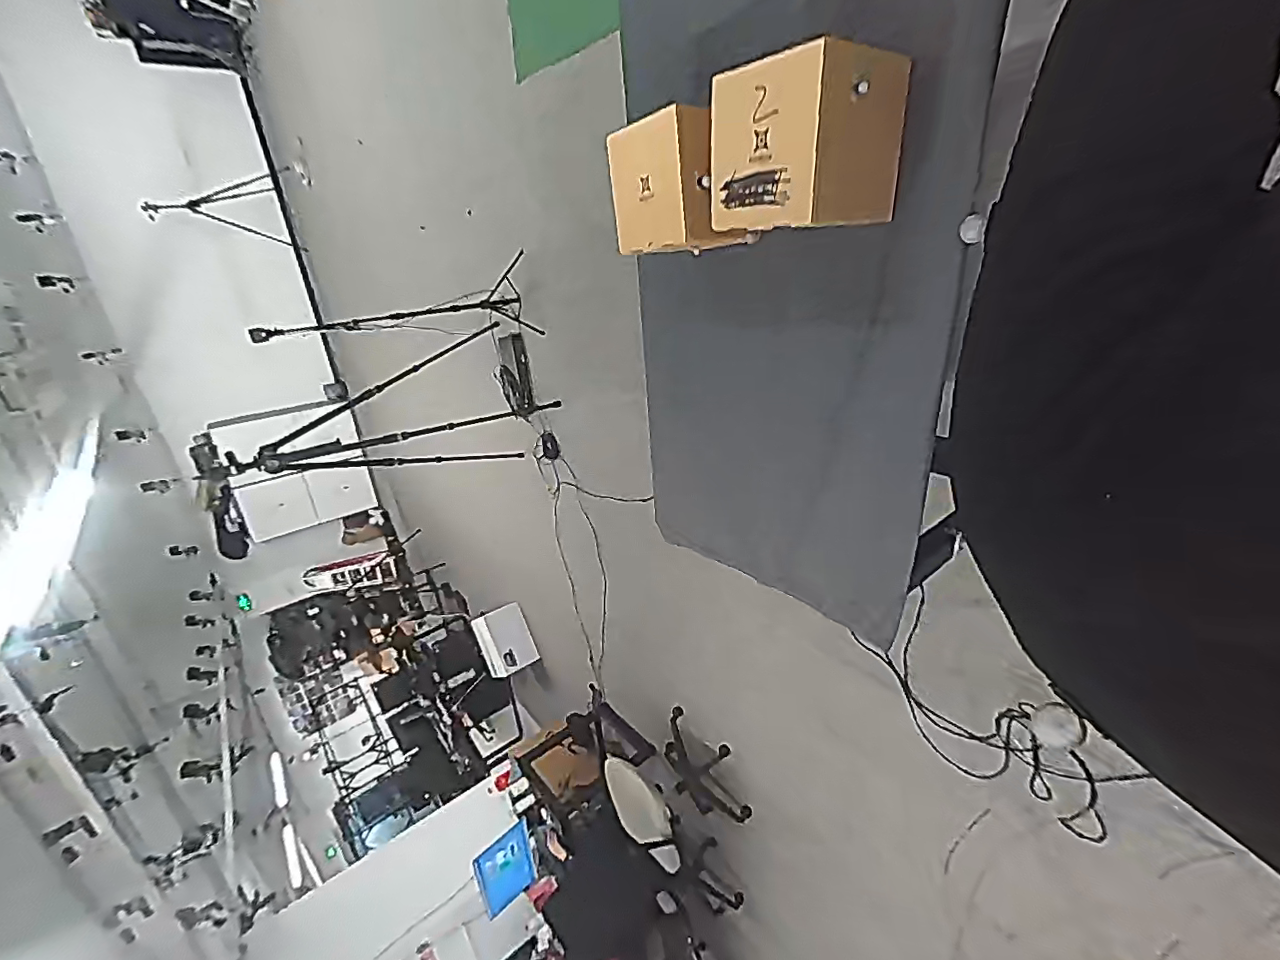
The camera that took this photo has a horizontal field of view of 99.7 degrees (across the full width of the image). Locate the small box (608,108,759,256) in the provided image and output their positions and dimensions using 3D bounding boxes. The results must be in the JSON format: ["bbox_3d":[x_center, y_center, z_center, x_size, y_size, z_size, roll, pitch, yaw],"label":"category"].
[{"bbox_3d":[0.074,-0.464,0.864,0.168,0.176,0.179,18,123,50],"label":"small box"}]
